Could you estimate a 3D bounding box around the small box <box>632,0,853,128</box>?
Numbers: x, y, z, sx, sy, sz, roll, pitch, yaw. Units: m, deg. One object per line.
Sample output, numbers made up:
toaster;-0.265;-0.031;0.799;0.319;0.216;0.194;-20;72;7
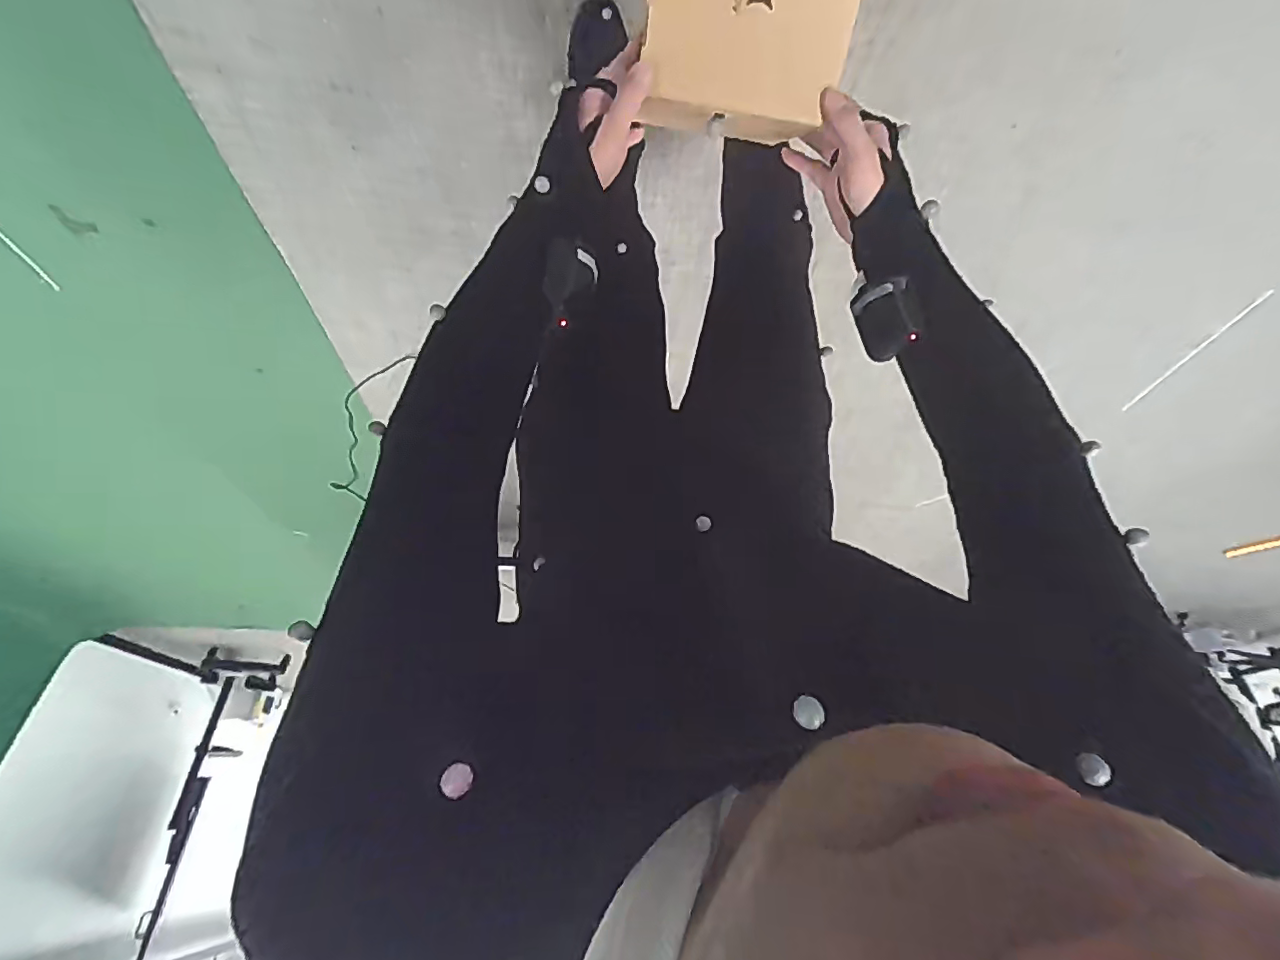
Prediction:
small box;0.090;-0.447;0.513;0.179;0.176;0.168;7;117;-5
